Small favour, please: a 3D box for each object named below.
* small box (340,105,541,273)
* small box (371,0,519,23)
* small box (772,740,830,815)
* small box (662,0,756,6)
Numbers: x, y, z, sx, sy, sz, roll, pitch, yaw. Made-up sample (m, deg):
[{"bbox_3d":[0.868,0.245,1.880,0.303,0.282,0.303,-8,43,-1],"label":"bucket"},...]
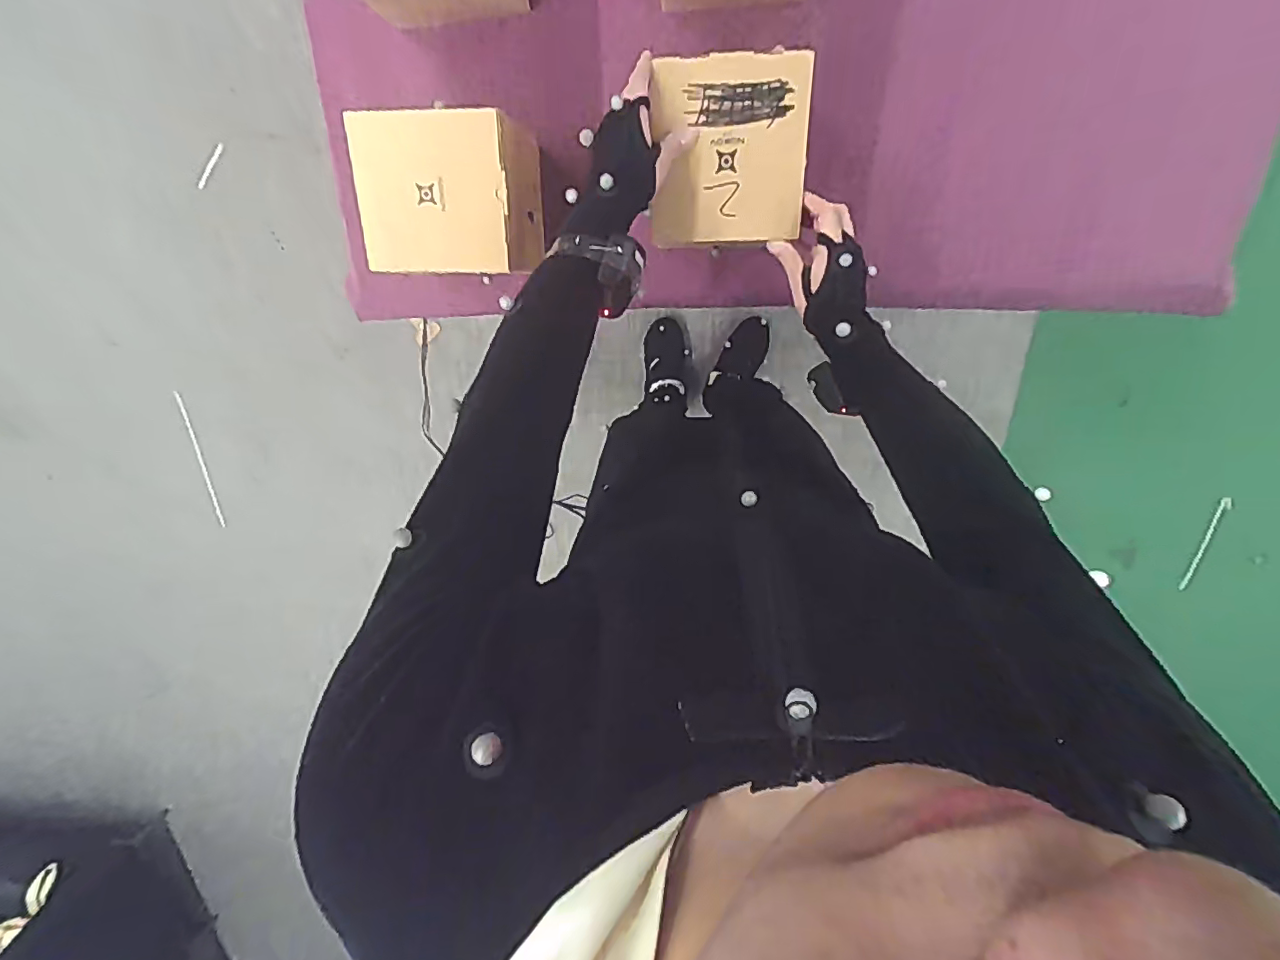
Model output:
[{"bbox_3d":[-0.233,-0.350,0.679,0.179,0.176,0.168,1,111,4],"label":"small box"},{"bbox_3d":[-0.237,-0.618,0.569,0.179,0.176,0.168,-2,113,6],"label":"small box"},{"bbox_3d":[0.581,1.081,1.975,0.168,0.176,0.179,4,114,4],"label":"small box"},{"bbox_3d":[0.100,-0.614,0.540,0.179,0.176,0.168,0,112,6],"label":"small box"}]
